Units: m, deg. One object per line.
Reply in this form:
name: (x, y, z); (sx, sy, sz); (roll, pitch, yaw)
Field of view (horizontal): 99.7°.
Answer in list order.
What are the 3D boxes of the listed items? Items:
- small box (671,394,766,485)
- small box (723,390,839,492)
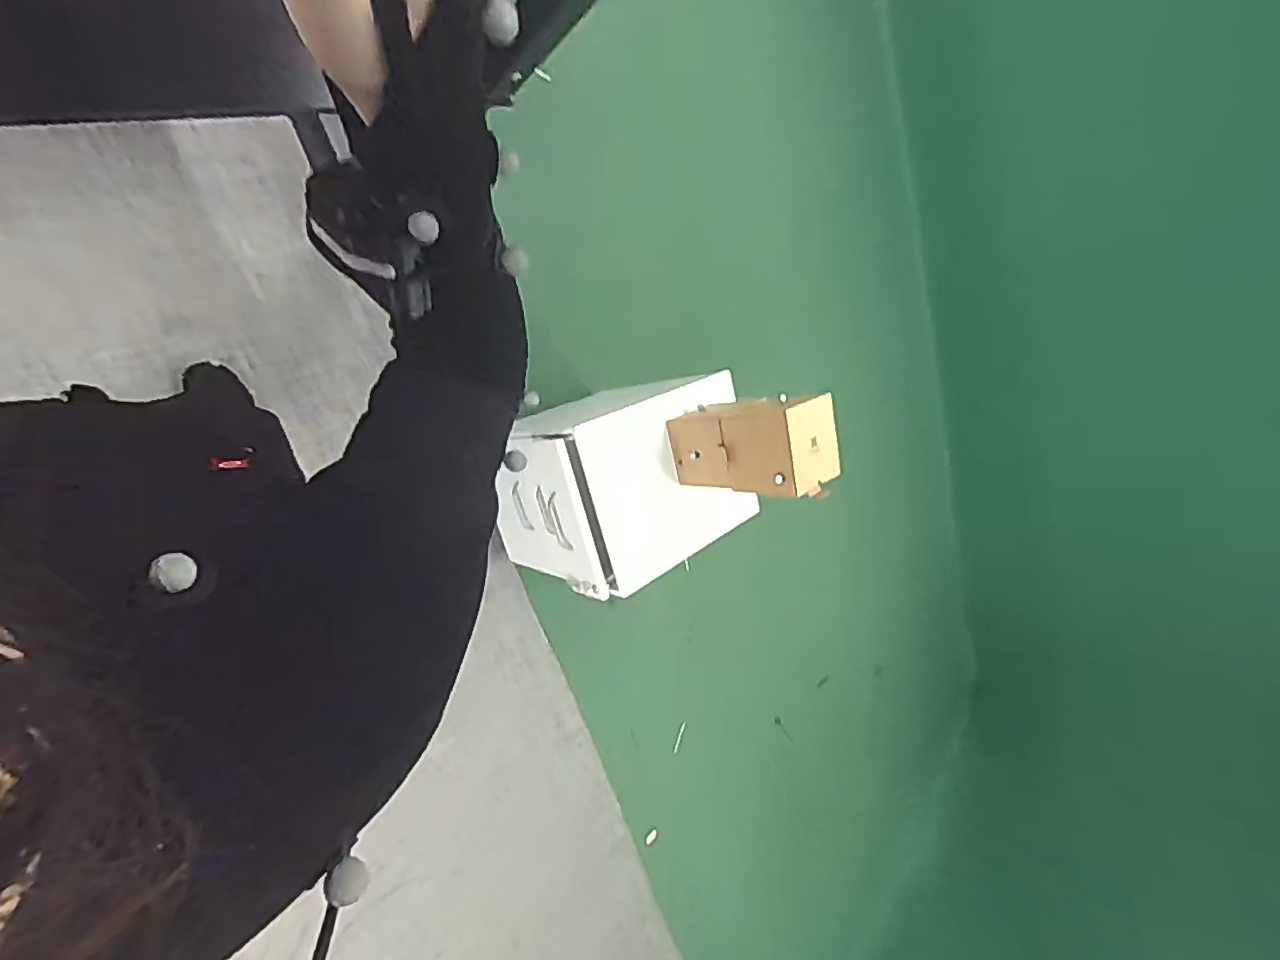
small box: (0.189, -0.095, 1.262); (0.179, 0.176, 0.168); (-25, 109, -36)
small box: (0.293, -0.083, 1.137); (0.168, 0.176, 0.179); (-22, 107, -37)
